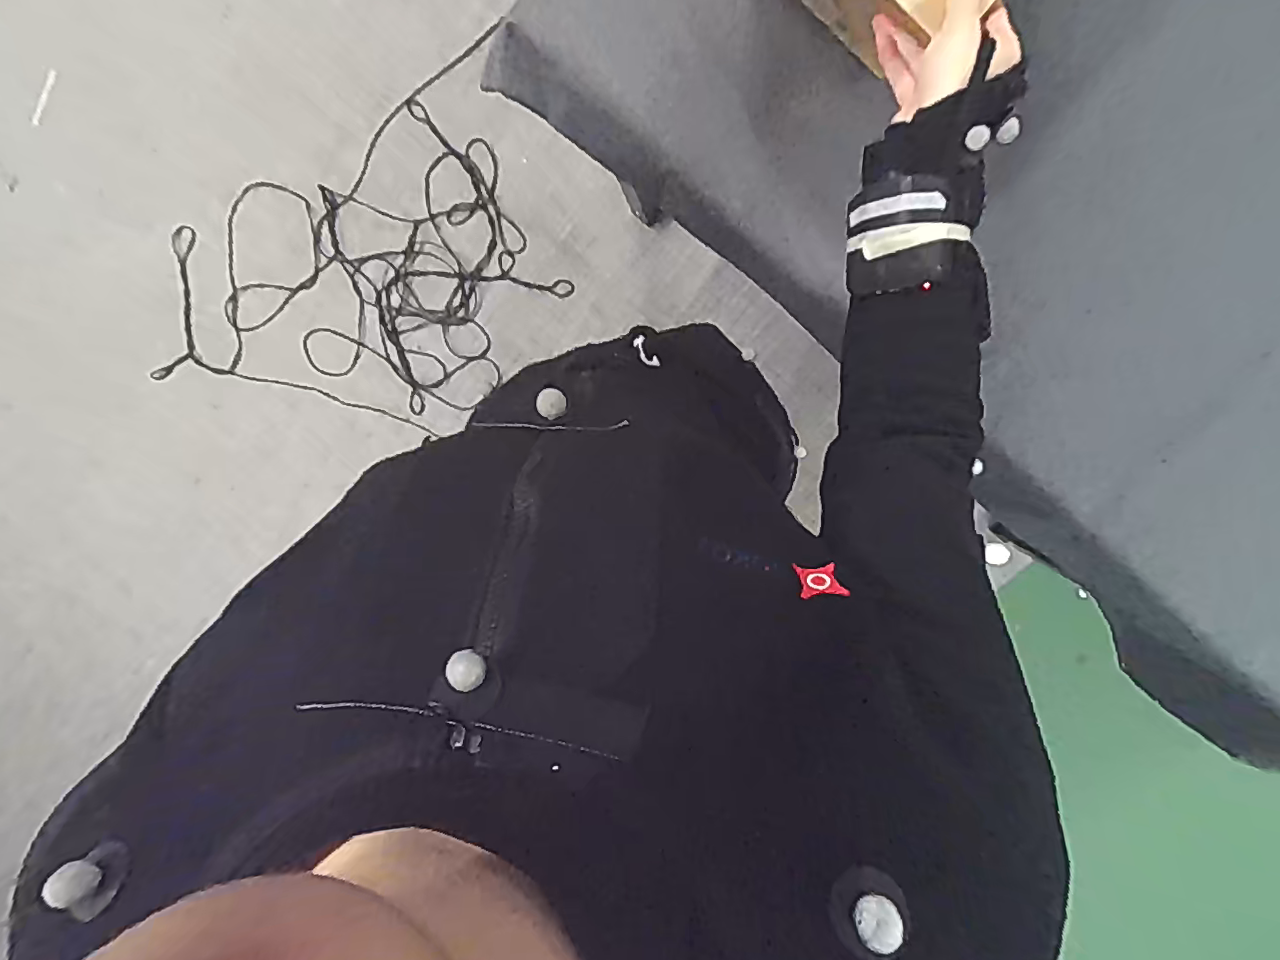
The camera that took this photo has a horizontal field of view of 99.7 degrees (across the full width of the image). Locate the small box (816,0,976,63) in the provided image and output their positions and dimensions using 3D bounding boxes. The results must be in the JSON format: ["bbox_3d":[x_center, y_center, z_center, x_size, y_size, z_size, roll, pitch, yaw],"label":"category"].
[{"bbox_3d":[0.194,-0.432,0.367,0.168,0.176,0.179,33,118,-12],"label":"small box"}]
